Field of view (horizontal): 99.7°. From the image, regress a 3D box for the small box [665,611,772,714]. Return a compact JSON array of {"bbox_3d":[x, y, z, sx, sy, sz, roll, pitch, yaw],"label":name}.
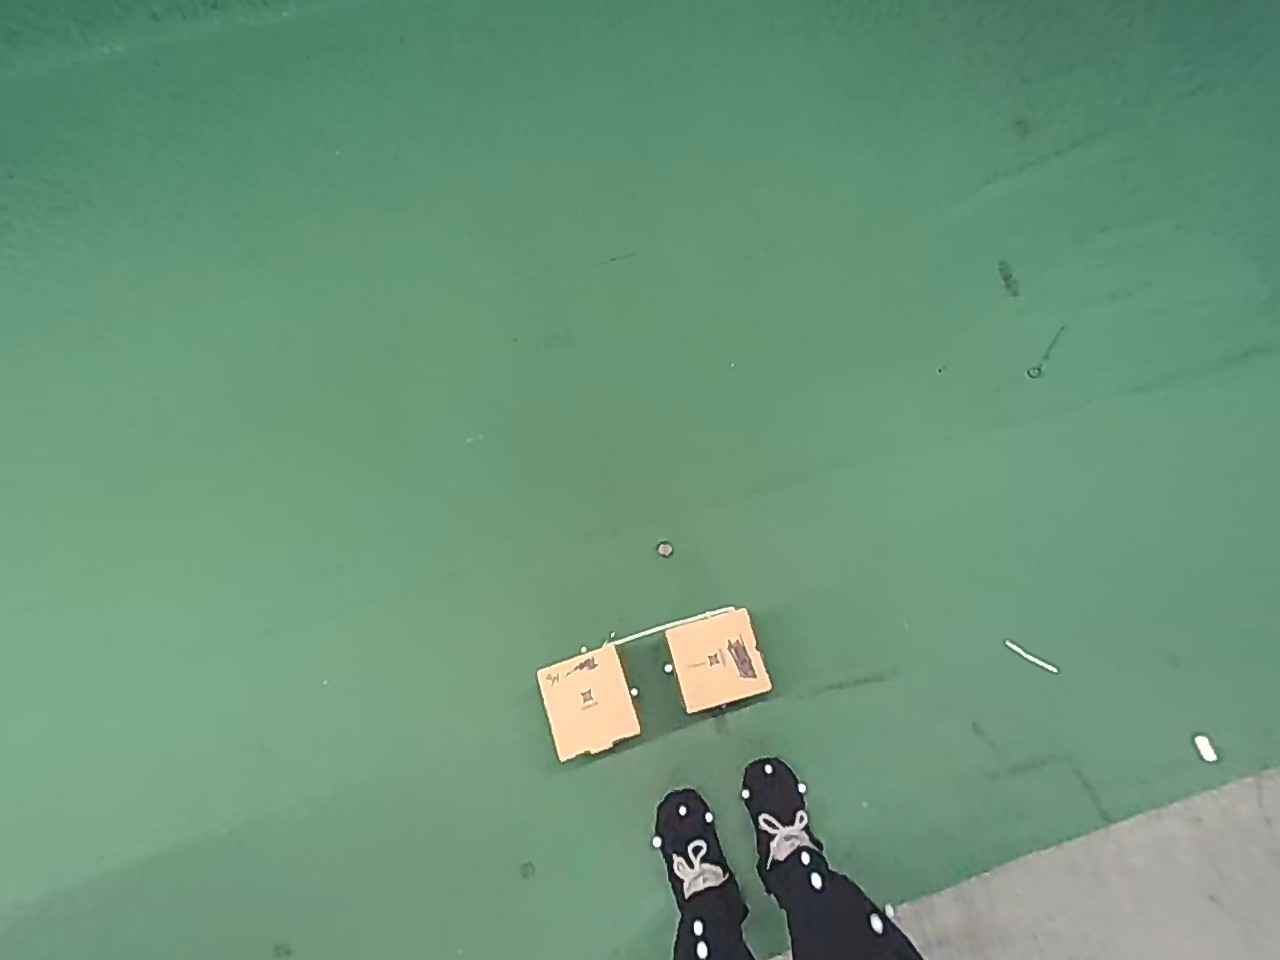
[{"bbox_3d":[0.157,0.383,1.148,0.179,0.176,0.168,-15,72,-3],"label":"small box"}]
